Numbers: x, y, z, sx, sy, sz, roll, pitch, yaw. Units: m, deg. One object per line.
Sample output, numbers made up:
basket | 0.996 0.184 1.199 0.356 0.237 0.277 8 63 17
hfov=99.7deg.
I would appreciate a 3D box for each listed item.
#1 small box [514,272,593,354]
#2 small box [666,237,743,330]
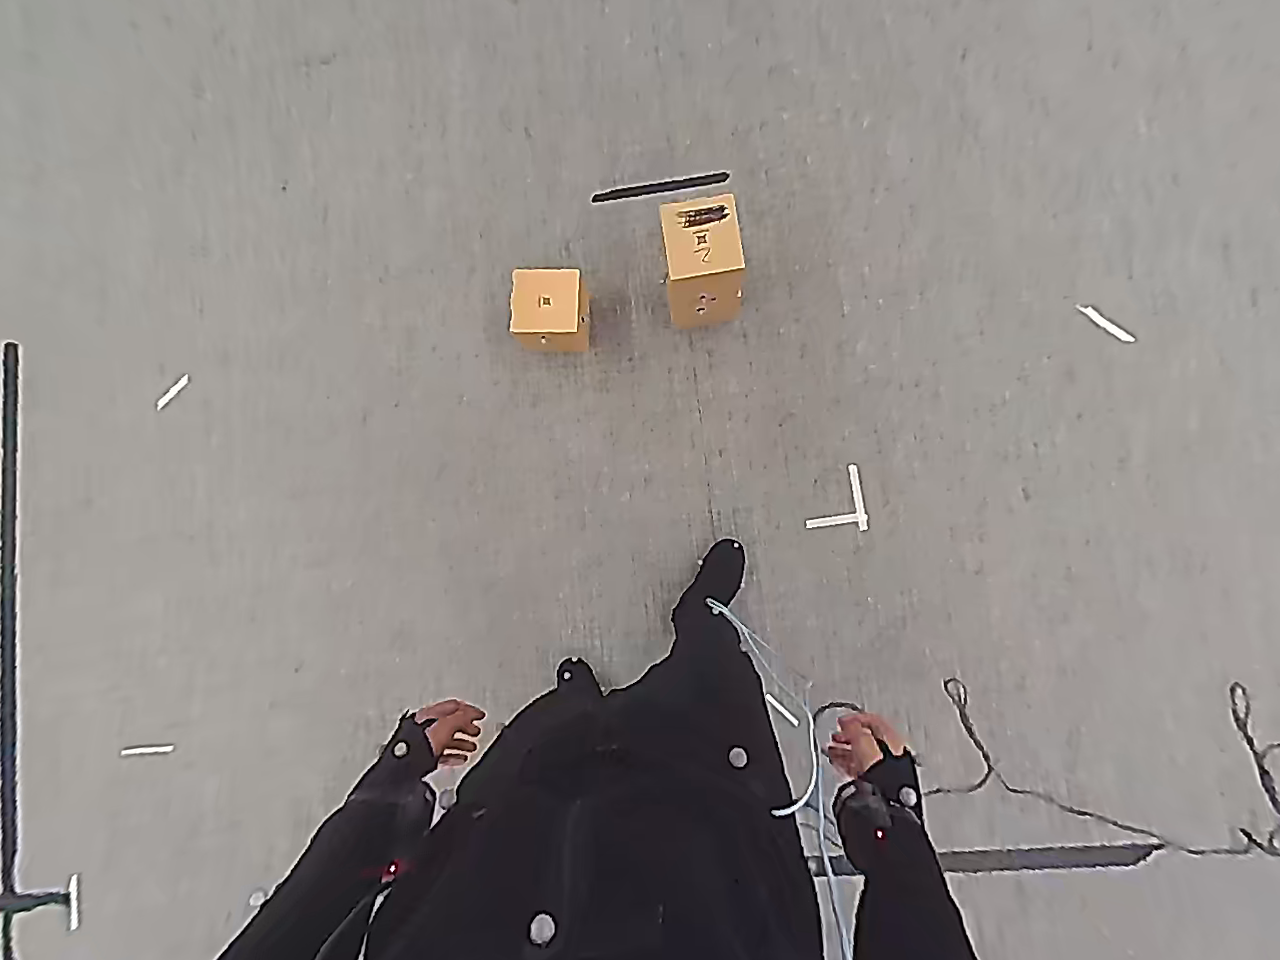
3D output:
small box | -0.225 -0.443 1.448 0.179 0.176 0.168 2 86 6
small box | 0.165 -0.507 1.421 0.179 0.176 0.168 -7 85 3
